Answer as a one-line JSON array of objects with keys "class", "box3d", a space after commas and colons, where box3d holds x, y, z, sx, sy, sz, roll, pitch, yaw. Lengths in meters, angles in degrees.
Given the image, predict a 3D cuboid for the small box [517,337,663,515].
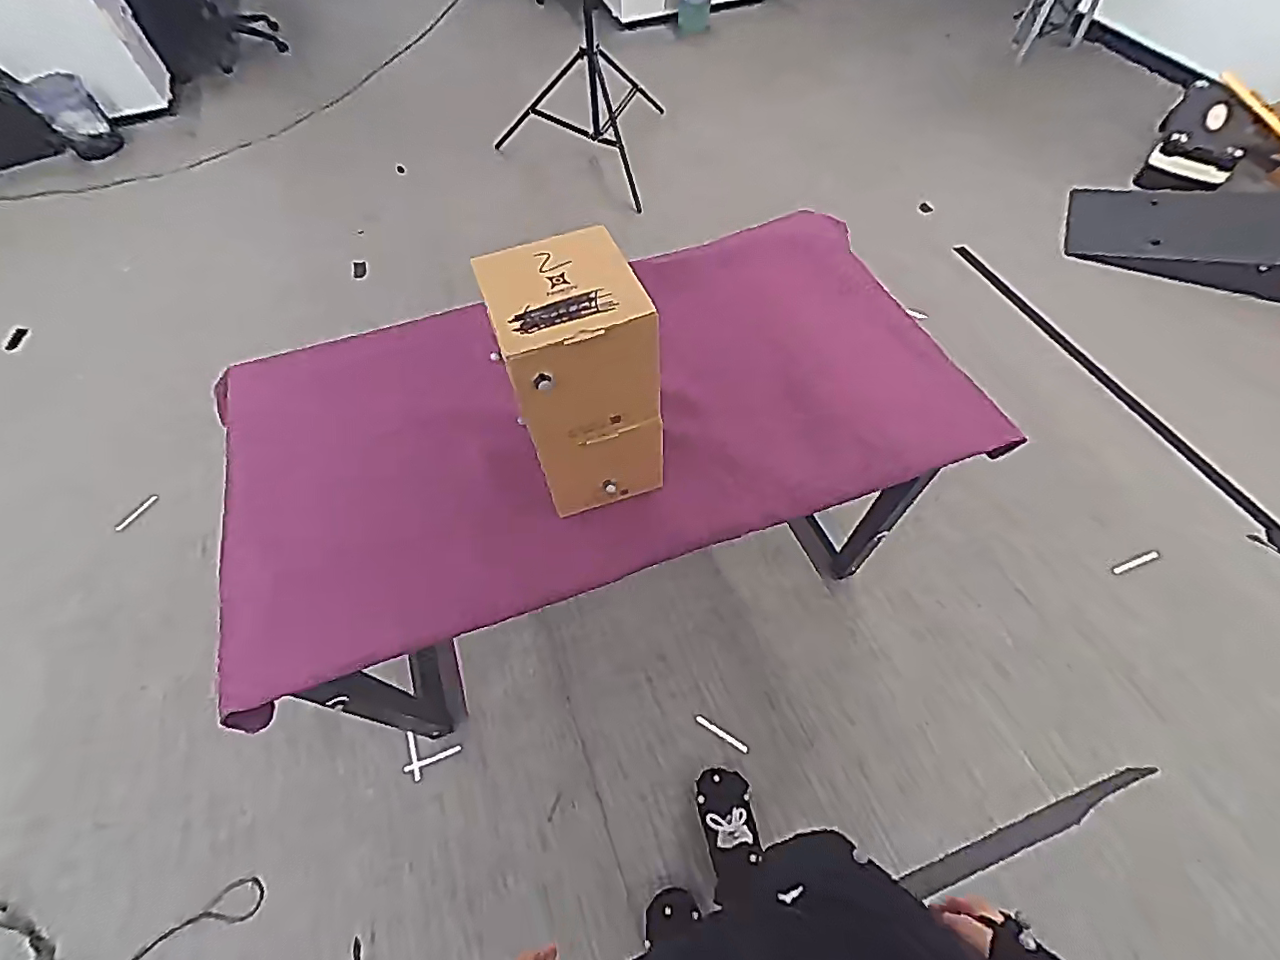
[{"class": "small box", "box3d": [-0.071, -0.077, 0.800, 0.168, 0.176, 0.179, -17, 59, -8]}]
